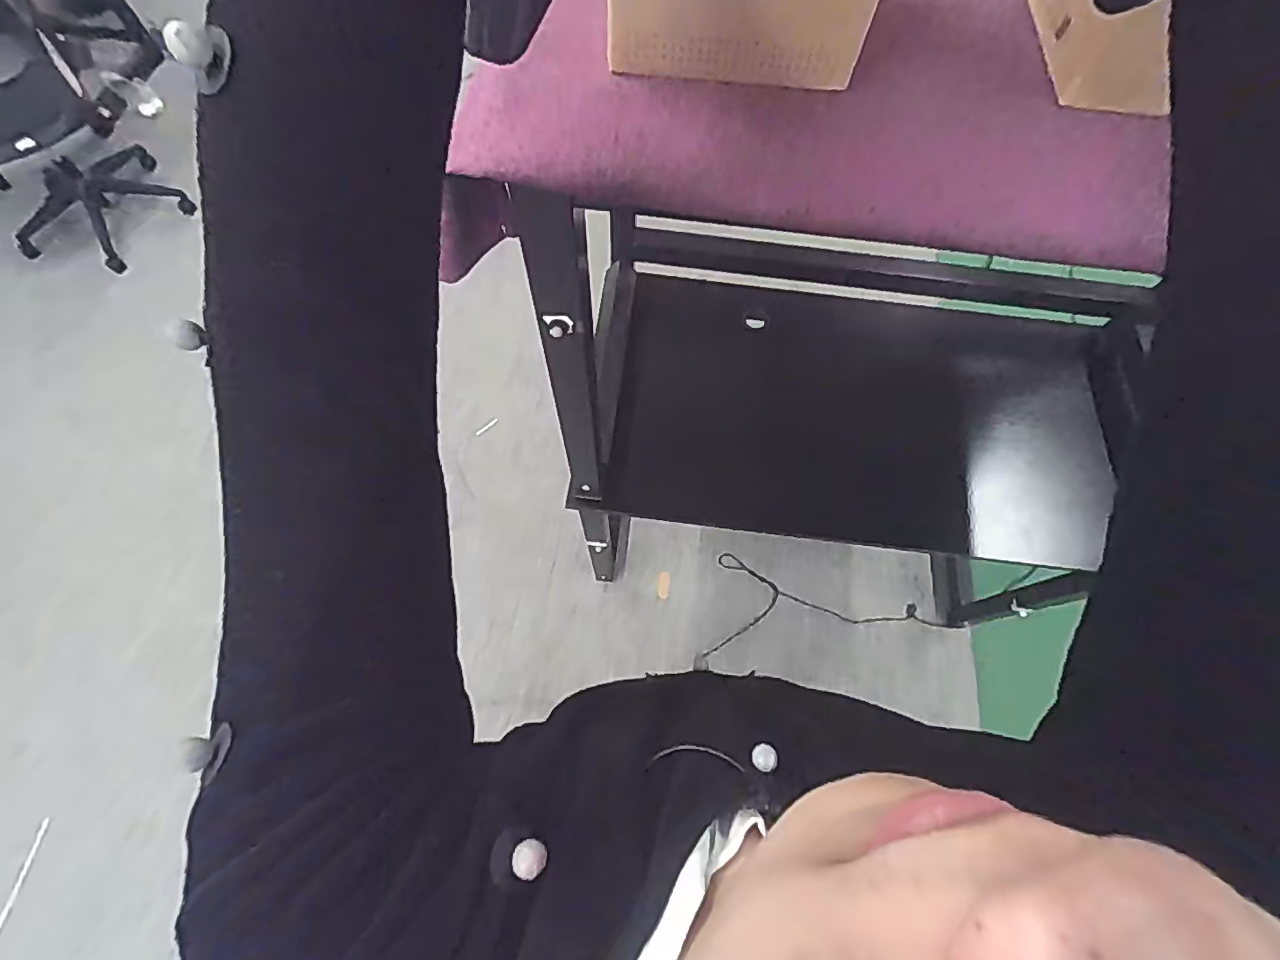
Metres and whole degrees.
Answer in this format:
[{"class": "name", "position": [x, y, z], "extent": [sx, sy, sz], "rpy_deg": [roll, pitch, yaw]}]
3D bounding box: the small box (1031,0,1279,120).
[{"class": "small box", "position": [0.399, -0.368, 0.346], "extent": [0.179, 0.176, 0.168], "rpy_deg": [8, 65, 2]}]

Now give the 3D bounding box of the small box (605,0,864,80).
[{"class": "small box", "position": [0.069, -0.398, 0.349], "extent": [0.179, 0.176, 0.168], "rpy_deg": [5, 67, -1]}]
